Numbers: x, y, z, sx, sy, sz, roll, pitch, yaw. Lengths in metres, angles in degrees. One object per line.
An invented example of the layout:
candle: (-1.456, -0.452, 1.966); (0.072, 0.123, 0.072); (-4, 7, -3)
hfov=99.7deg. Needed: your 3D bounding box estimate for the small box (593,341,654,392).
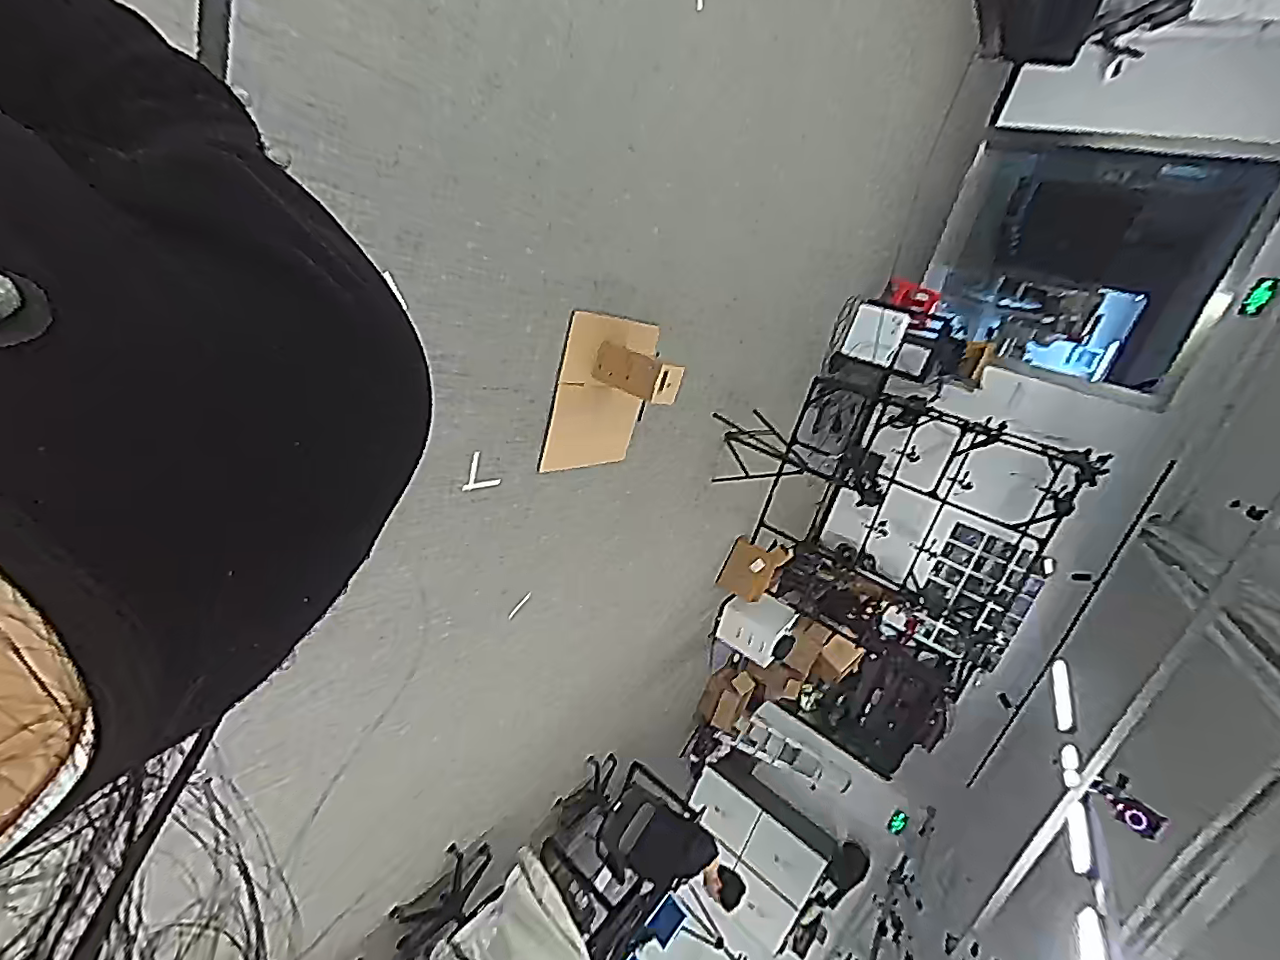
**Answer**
small box: (-0.075, -0.493, 2.339); (0.179, 0.176, 0.168); (-6, 120, -56)
